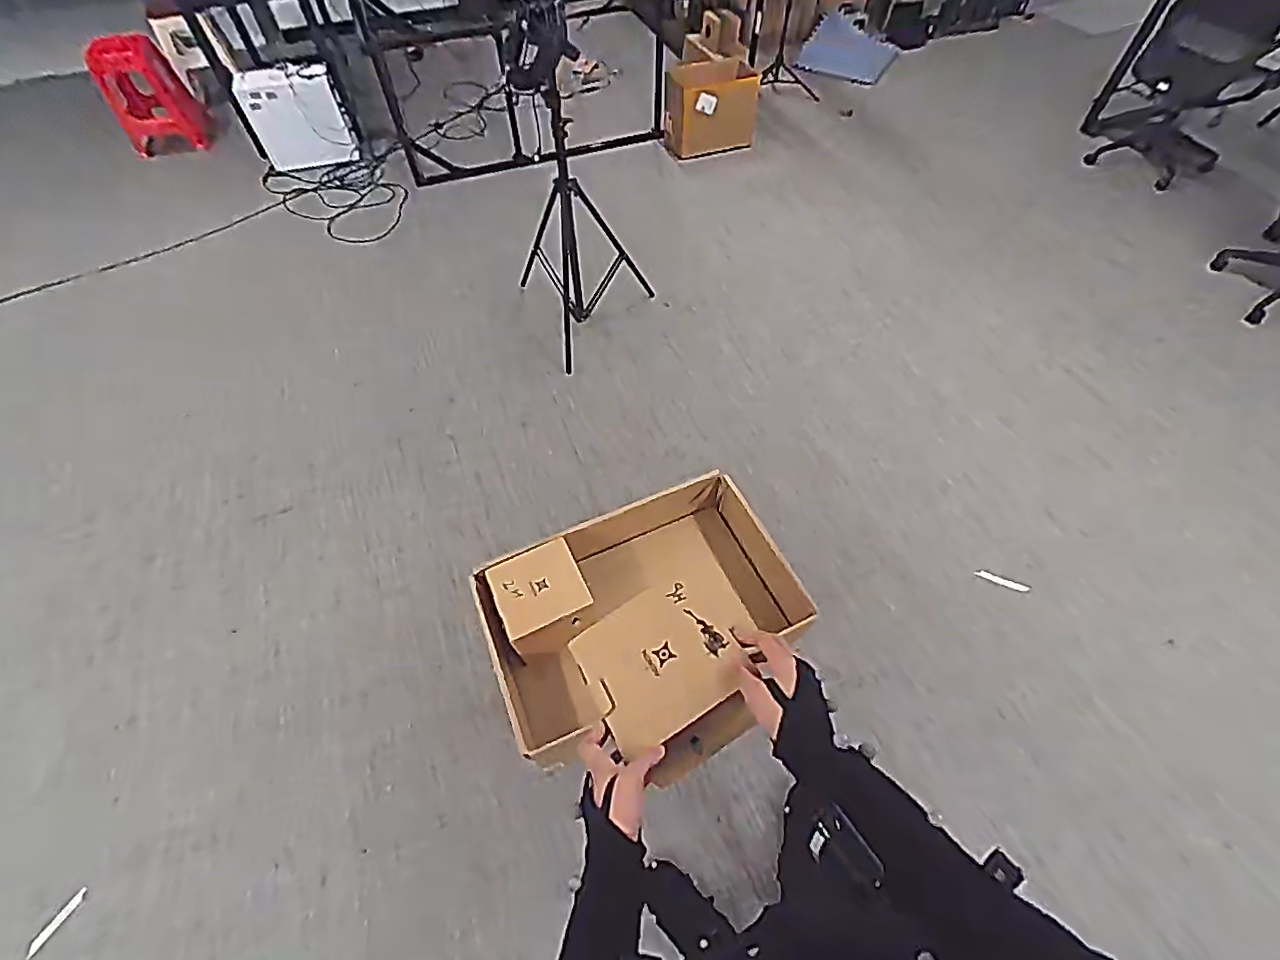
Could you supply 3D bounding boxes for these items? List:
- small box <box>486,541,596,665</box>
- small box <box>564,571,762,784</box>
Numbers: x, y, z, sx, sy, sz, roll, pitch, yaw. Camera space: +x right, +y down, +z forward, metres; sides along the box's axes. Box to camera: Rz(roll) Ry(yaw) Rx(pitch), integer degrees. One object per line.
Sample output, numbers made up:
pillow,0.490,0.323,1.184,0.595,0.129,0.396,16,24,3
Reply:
small box,-0.201,0.262,1.139,0.179,0.176,0.168,-23,58,-13
small box,0.036,0.255,0.686,0.179,0.176,0.168,-33,51,-6
